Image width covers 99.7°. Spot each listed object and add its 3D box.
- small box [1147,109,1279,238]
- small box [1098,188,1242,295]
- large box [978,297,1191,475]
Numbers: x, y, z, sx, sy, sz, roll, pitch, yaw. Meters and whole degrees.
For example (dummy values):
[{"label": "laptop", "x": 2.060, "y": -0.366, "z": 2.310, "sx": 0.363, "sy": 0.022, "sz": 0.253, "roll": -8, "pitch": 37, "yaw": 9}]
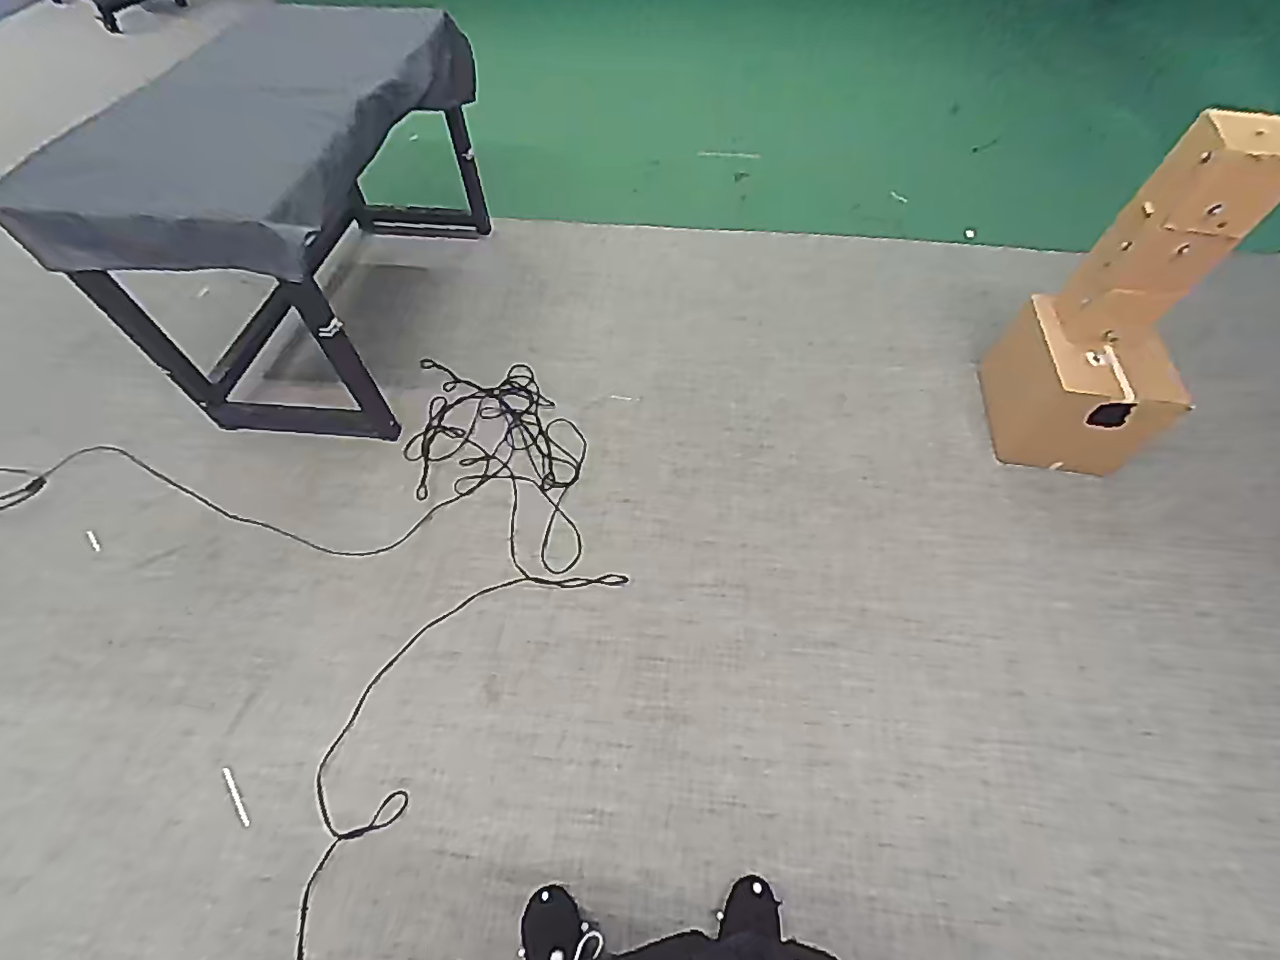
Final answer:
[{"label": "small box", "x": 1.258, "y": -0.659, "z": 1.168, "sx": 0.168, "sy": 0.176, "sz": 0.179, "roll": 12, "pitch": 60, "yaw": 7}, {"label": "small box", "x": 1.257, "y": -0.571, "z": 1.305, "sx": 0.179, "sy": 0.176, "sz": 0.168, "roll": 11, "pitch": 59, "yaw": 6}, {"label": "large box", "x": 1.265, "y": -0.276, "z": 1.598, "sx": 0.320, "sy": 0.320, "sz": 0.408, "roll": 7, "pitch": 58, "yaw": 6}]
